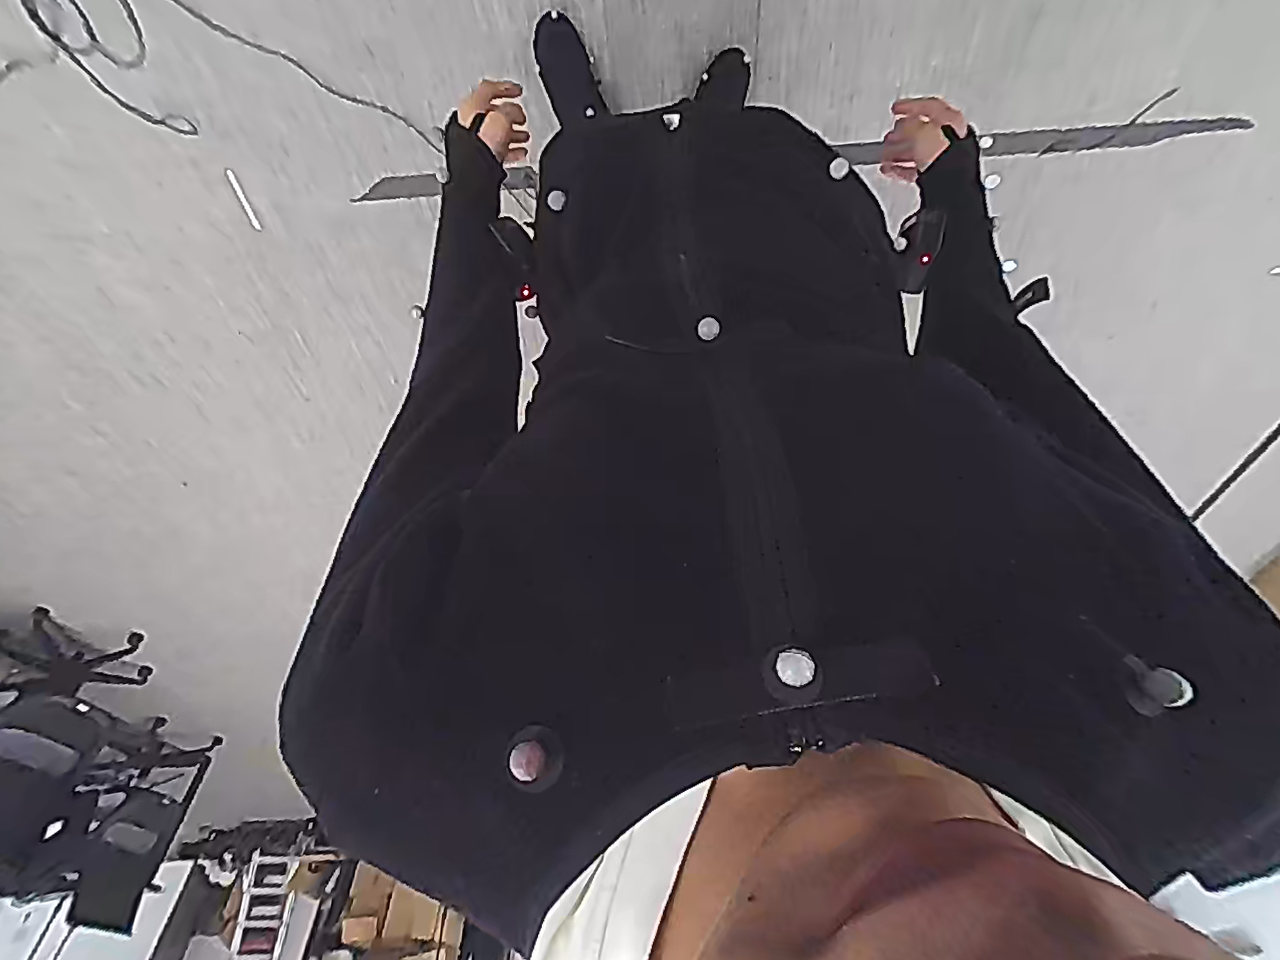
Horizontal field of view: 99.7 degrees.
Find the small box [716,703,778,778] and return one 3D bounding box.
[{"bbox_3d":[0.344,0.847,1.760,0.168,0.176,0.179,-6,133,2],"label":"small box"}]
